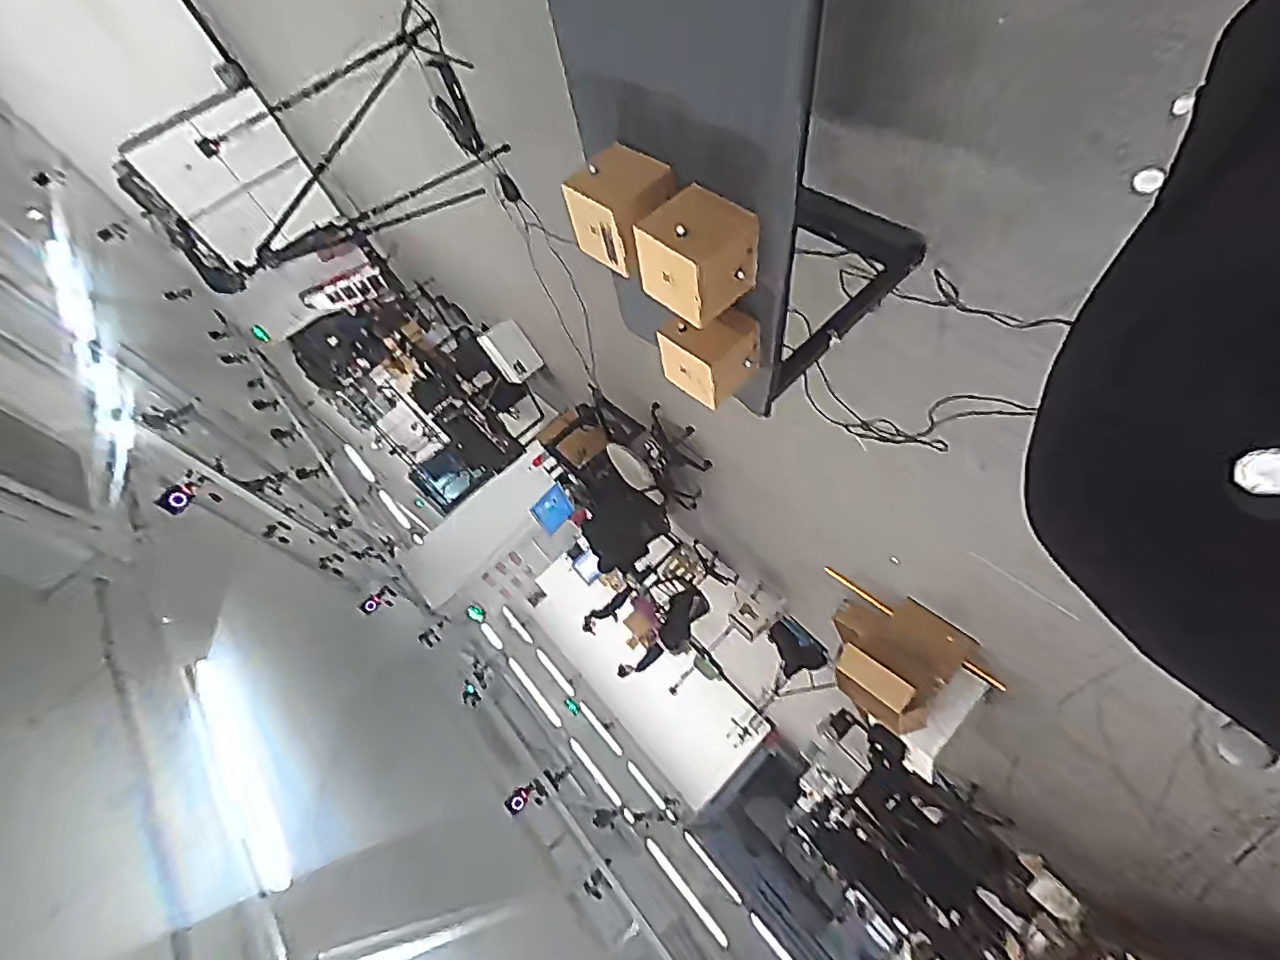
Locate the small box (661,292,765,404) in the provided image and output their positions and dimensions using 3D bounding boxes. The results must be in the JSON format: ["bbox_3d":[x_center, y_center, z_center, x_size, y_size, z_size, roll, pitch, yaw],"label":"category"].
[{"bbox_3d":[0.177,-0.324,1.307,0.179,0.176,0.168,40,165,27],"label":"small box"}]
